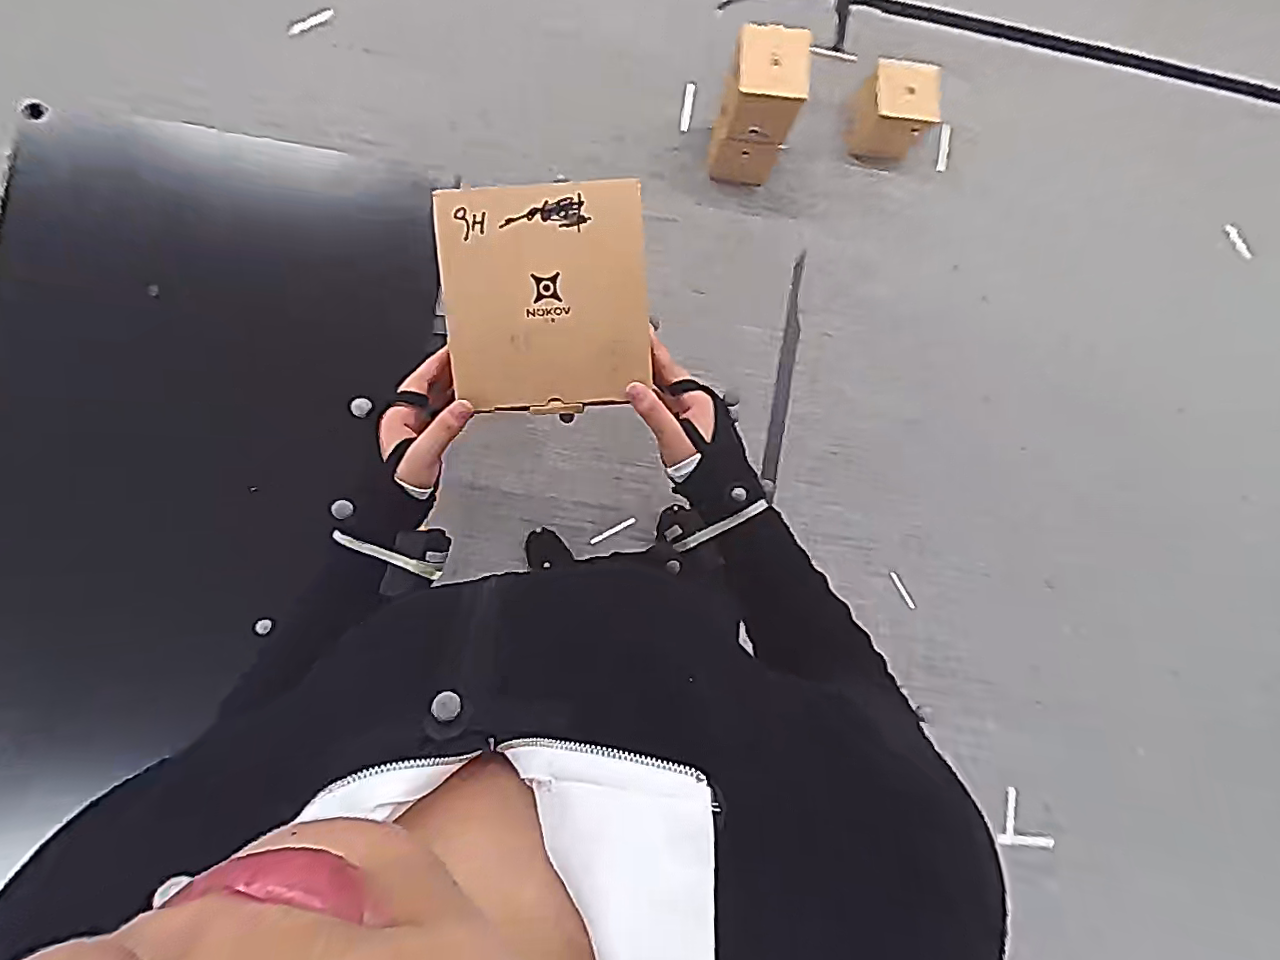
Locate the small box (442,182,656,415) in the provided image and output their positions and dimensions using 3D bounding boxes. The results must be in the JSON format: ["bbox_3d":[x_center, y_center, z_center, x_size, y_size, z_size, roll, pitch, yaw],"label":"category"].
[{"bbox_3d":[-0.071,-0.159,0.516,0.168,0.176,0.179,-3,100,-1],"label":"small box"}]

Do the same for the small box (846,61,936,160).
[{"bbox_3d":[0.725,-1.065,1.570,0.179,0.176,0.168,3,86,-5],"label":"small box"}]

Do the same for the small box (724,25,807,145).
[{"bbox_3d":[0.310,-0.988,1.365,0.168,0.176,0.179,2,88,-3],"label":"small box"}]

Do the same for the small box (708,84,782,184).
[{"bbox_3d":[0.295,-0.968,1.526,0.179,0.176,0.168,6,86,-5],"label":"small box"}]
